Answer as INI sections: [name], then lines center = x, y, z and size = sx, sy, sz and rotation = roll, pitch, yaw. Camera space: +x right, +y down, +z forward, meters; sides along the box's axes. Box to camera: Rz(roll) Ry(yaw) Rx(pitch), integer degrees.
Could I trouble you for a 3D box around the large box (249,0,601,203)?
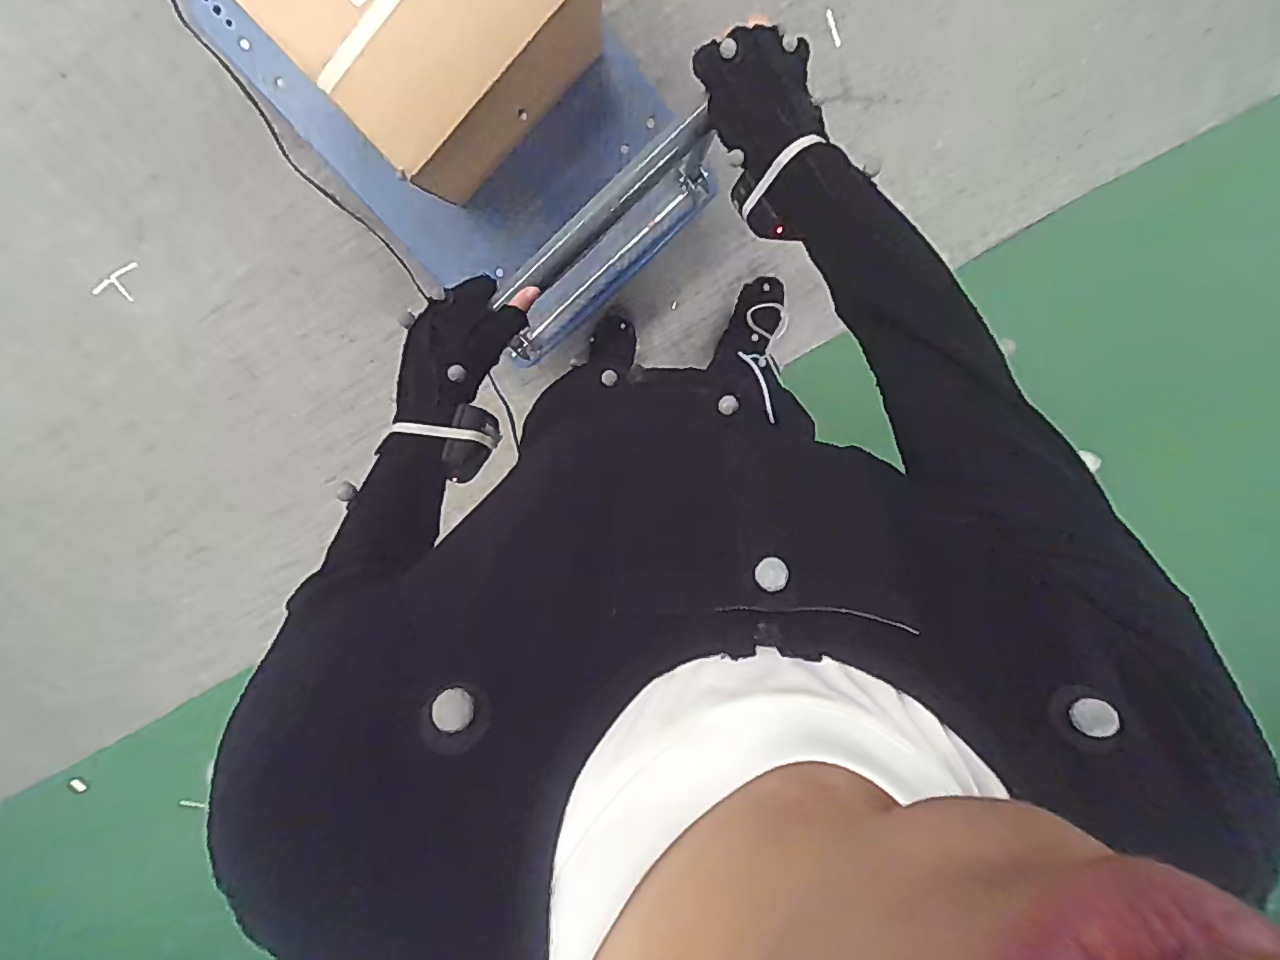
[large box]
center = -0.310, -0.745, 0.895
size = 0.408, 0.320, 0.320
rotation = -41, 106, 12
